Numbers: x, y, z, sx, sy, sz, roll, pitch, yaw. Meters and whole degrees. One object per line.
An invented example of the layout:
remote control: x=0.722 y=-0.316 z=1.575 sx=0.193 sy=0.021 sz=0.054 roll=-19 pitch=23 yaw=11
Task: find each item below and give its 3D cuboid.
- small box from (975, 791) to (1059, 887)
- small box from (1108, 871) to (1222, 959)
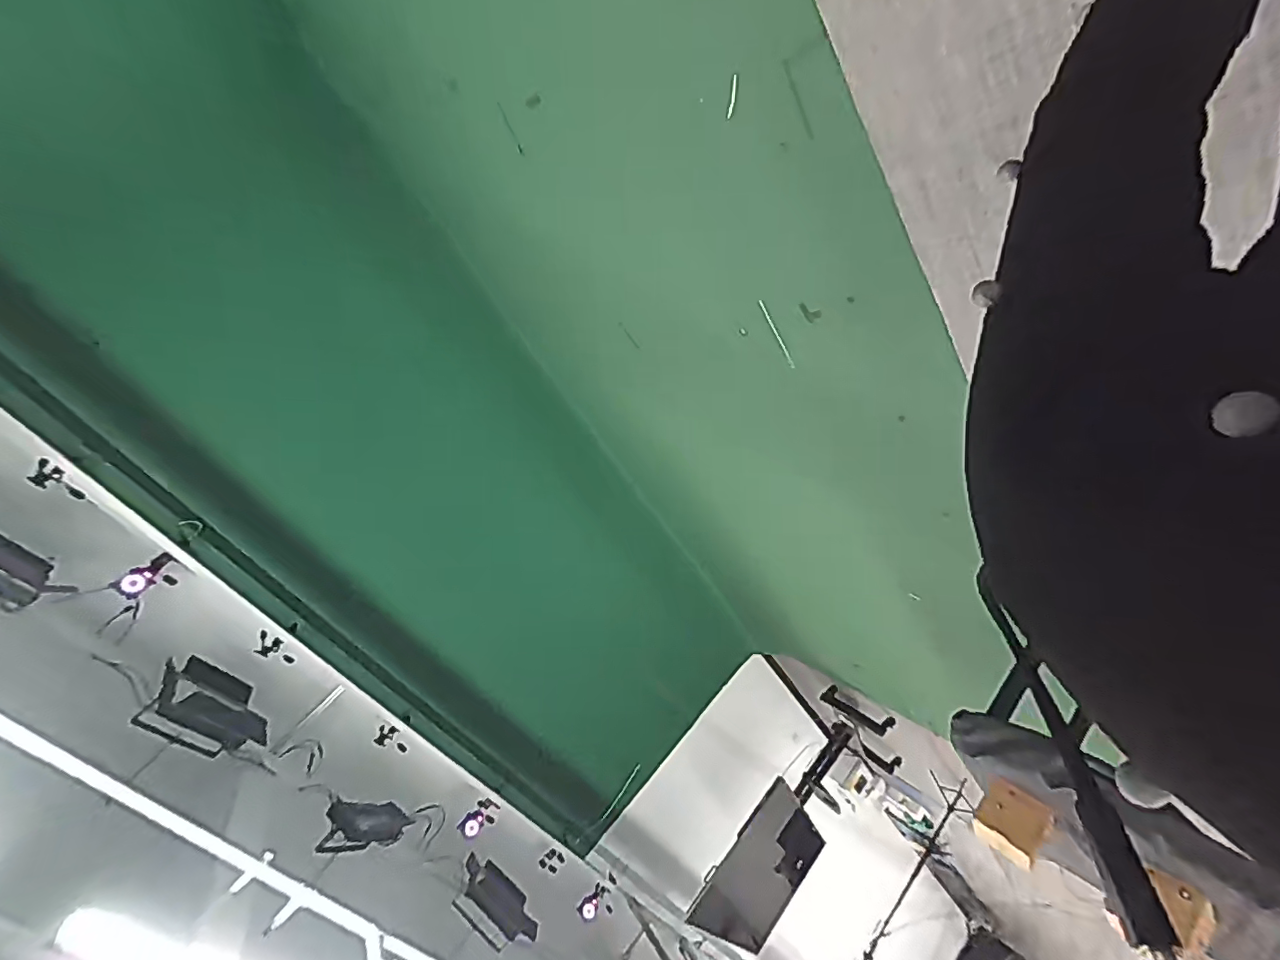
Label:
small box: x=1.188 y=1.123 z=1.702 sx=0.168 sy=0.176 sz=0.179 roll=24 pitch=154 yaw=51
small box: x=1.371 y=1.179 z=1.412 sx=0.179 sy=0.176 sz=0.168 roll=52 pitch=161 yaw=-23
